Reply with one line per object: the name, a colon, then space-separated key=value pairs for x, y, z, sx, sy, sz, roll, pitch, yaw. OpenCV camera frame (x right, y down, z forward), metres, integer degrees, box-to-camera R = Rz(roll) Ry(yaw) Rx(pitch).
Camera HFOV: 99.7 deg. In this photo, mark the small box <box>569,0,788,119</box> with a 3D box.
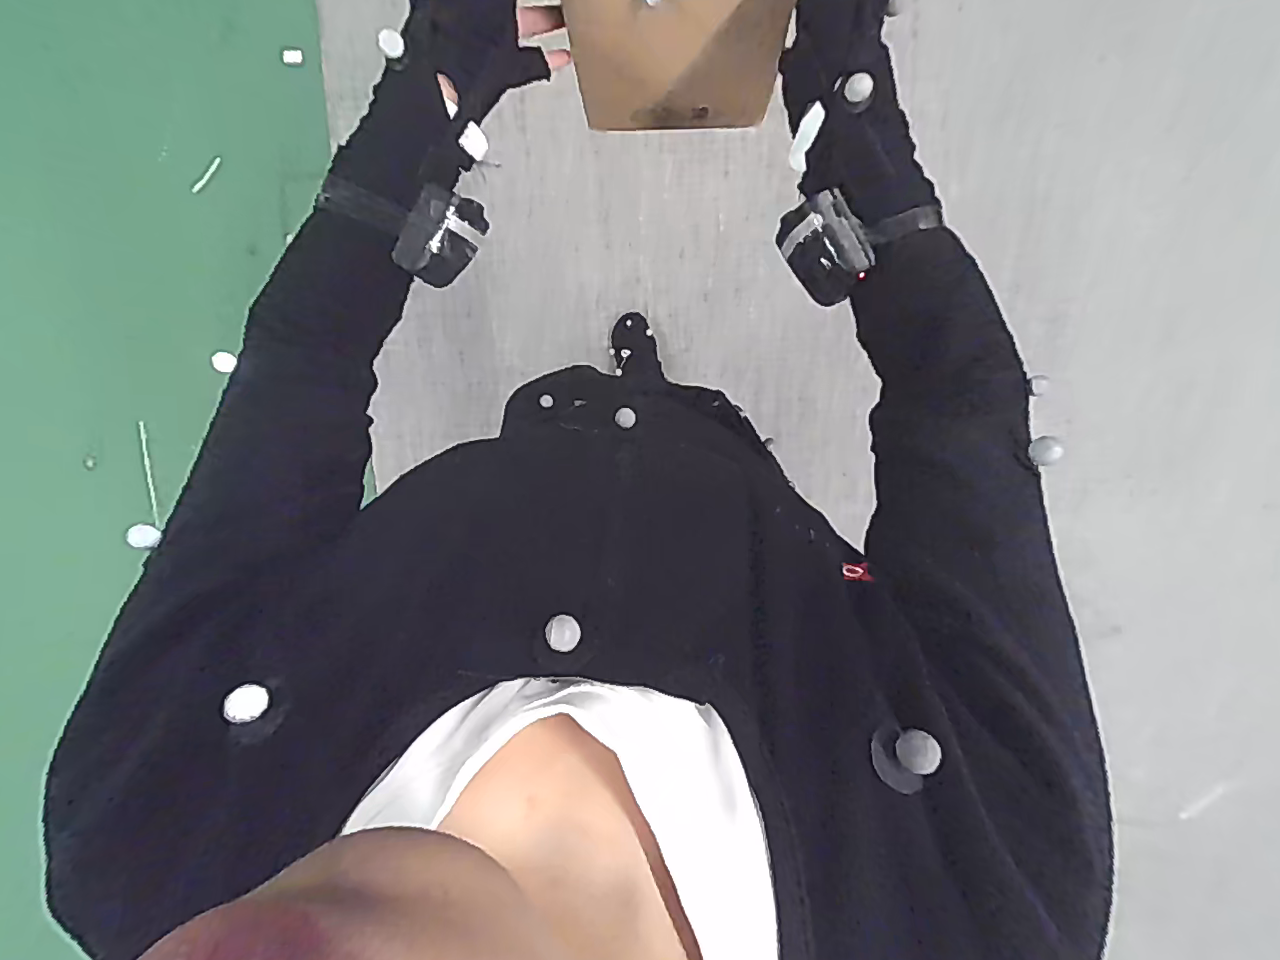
small box: x=0.029 y=-0.428 z=0.428 sx=0.168 sy=0.176 sz=0.179 roll=1 pitch=87 yaw=3
